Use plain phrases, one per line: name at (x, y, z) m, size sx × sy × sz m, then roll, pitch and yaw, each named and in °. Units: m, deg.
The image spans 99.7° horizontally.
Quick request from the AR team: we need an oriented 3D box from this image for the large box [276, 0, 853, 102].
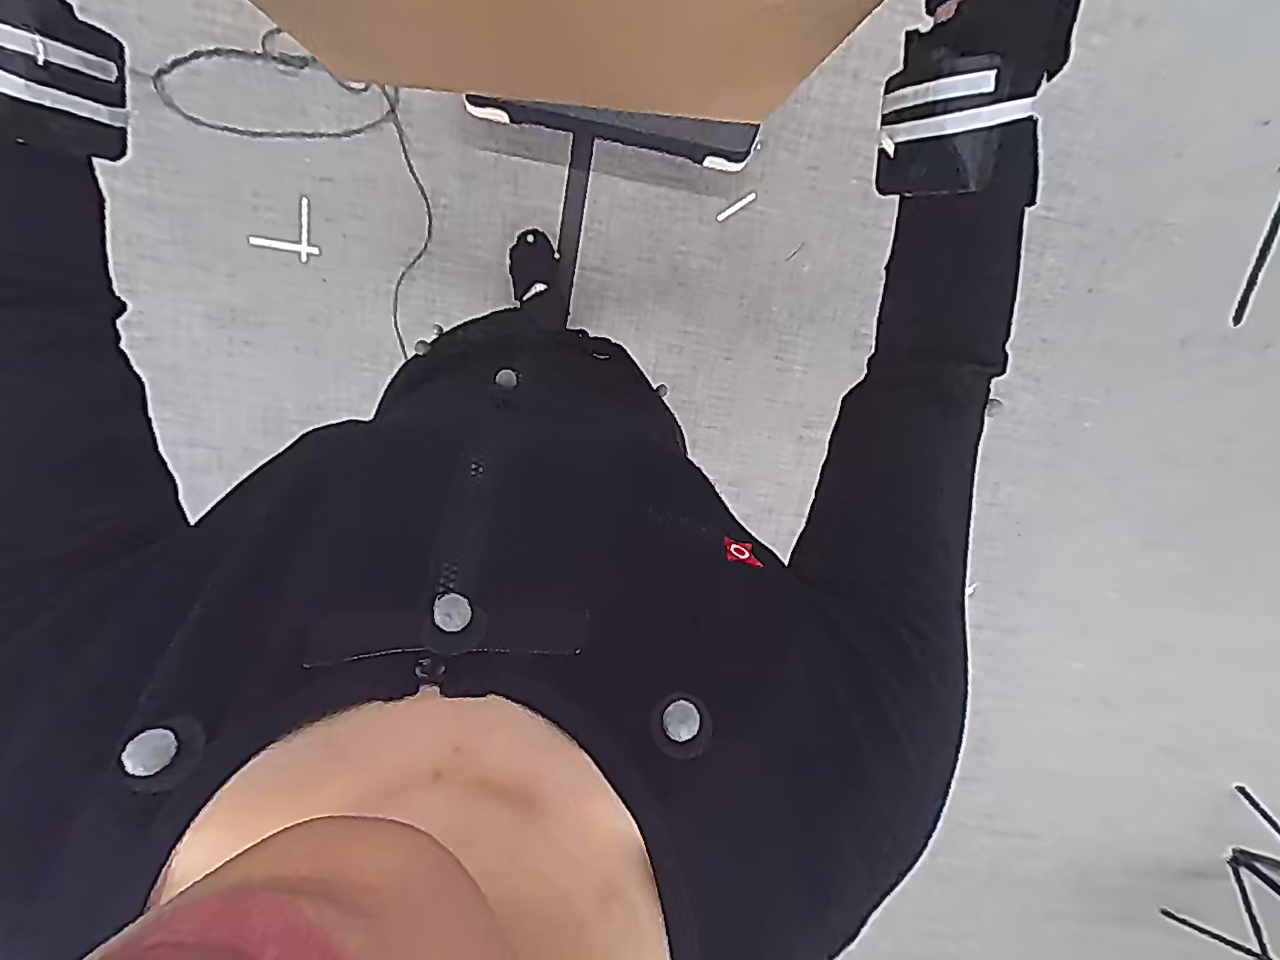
large box at (-0.054, -0.467, 0.325) m, size 0.408 × 0.320 × 0.320 m, roll 1°, pitch 109°, yaw -7°
